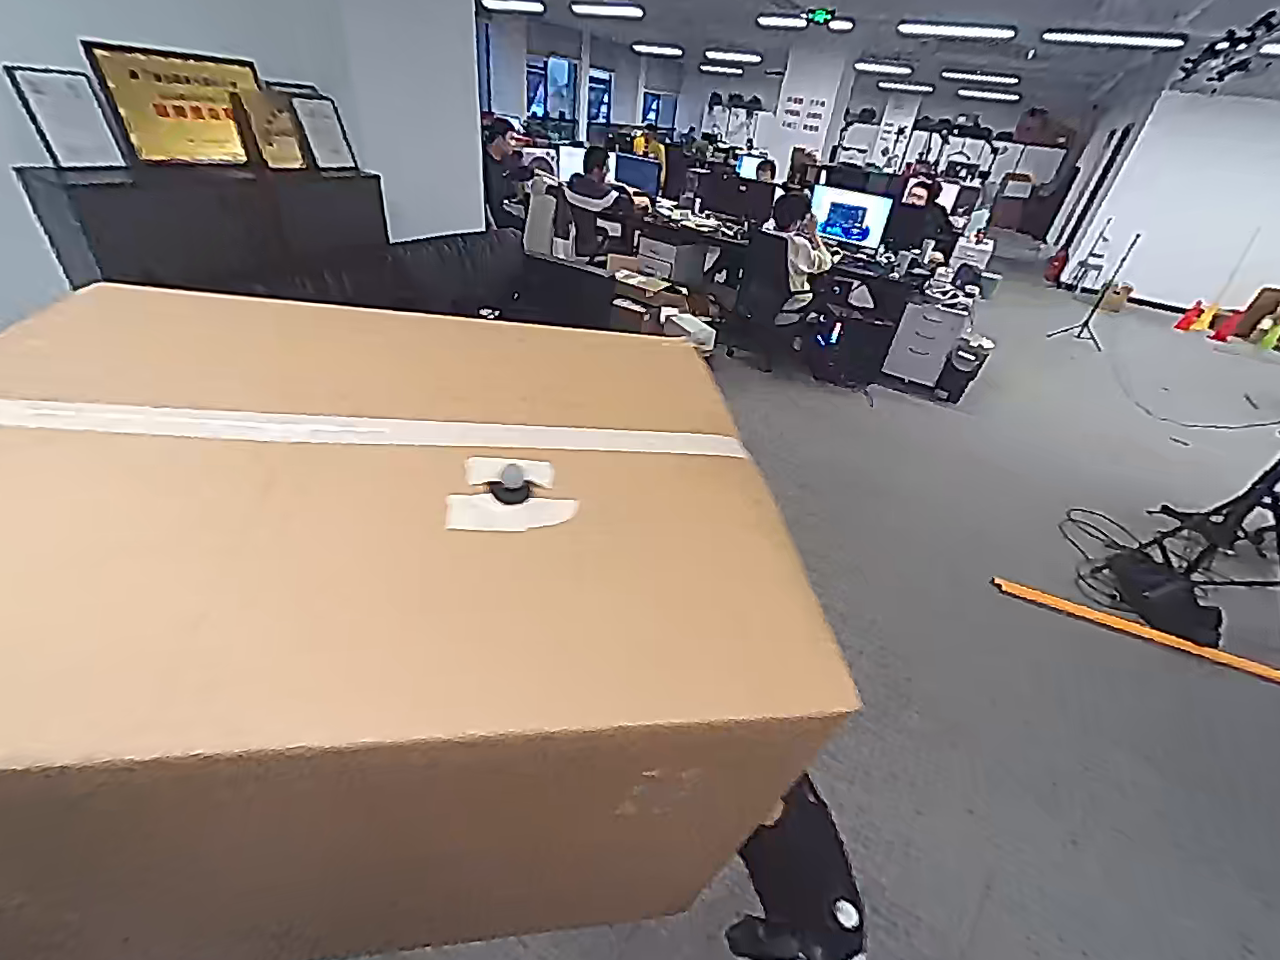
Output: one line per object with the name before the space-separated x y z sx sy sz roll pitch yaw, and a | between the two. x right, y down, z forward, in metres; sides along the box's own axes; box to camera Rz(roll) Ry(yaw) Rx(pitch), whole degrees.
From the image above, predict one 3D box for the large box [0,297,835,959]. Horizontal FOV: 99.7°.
large box | -0.156 0.095 0.389 0.408 0.320 0.320 3 41 -13
